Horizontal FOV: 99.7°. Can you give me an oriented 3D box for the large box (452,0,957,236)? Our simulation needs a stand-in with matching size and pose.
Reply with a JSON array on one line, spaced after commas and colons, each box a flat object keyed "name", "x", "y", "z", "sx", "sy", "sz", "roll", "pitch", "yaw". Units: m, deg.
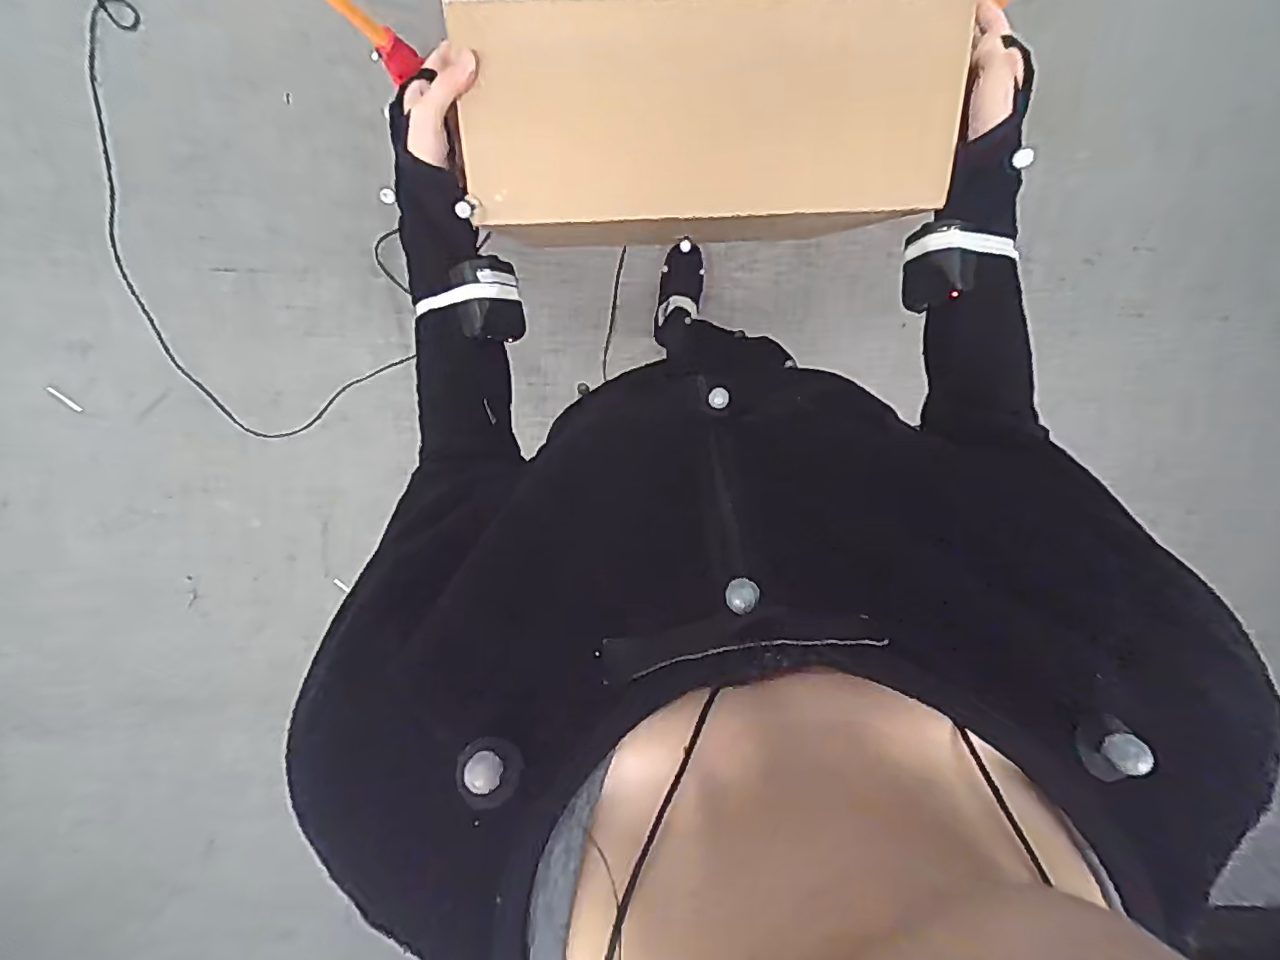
[{"name": "large box", "x": 0.047, "y": -0.435, "z": 0.553, "sx": 0.408, "sy": 0.320, "sz": 0.320, "roll": -3, "pitch": 110, "yaw": -2}]
